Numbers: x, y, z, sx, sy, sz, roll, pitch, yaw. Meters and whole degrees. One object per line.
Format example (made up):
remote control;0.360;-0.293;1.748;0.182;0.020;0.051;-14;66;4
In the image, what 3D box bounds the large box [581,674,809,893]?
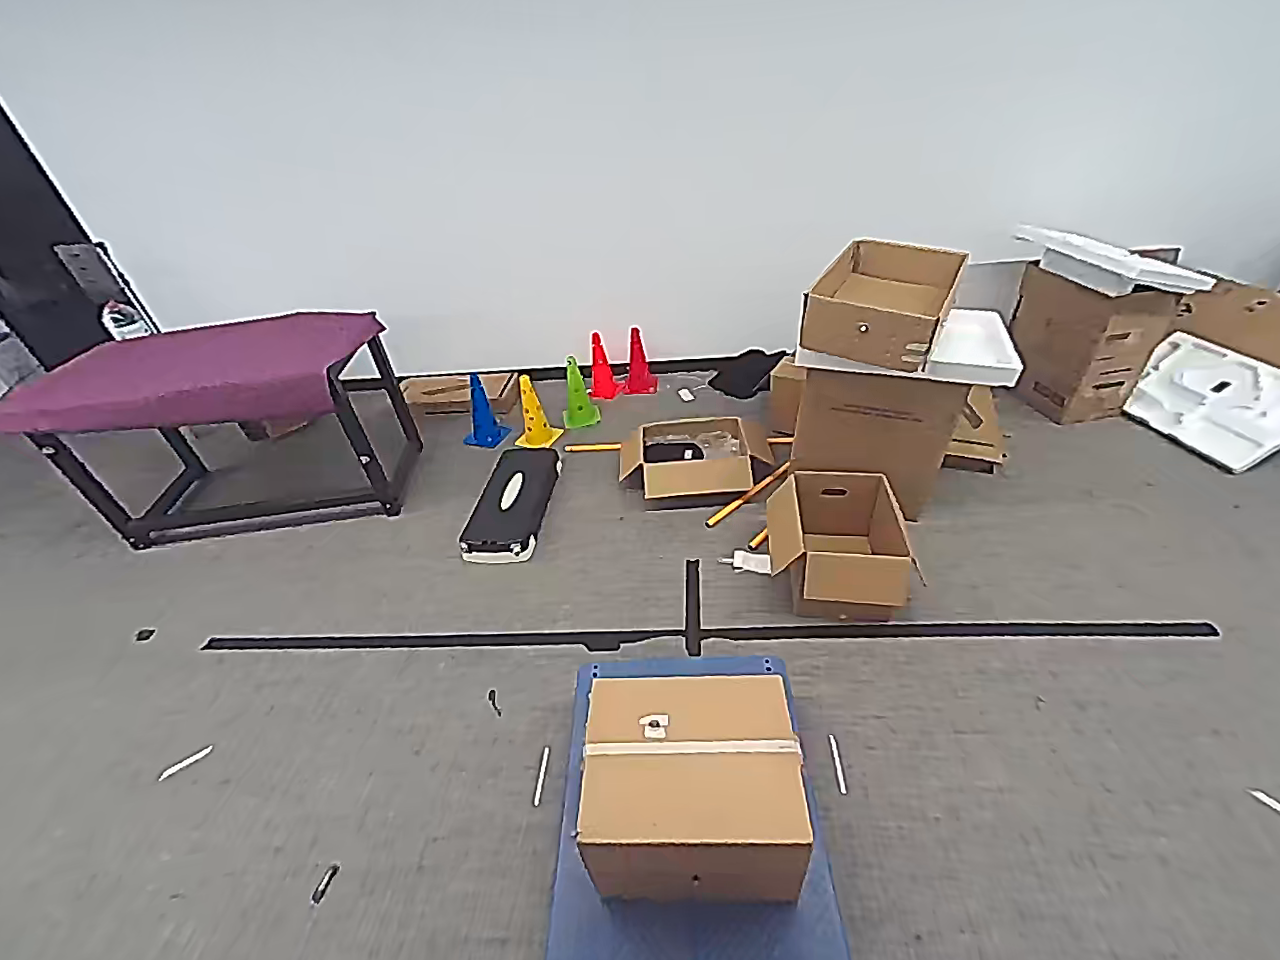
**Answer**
large box;0.111;0.642;1.141;0.408;0.320;0.320;-4;37;5
